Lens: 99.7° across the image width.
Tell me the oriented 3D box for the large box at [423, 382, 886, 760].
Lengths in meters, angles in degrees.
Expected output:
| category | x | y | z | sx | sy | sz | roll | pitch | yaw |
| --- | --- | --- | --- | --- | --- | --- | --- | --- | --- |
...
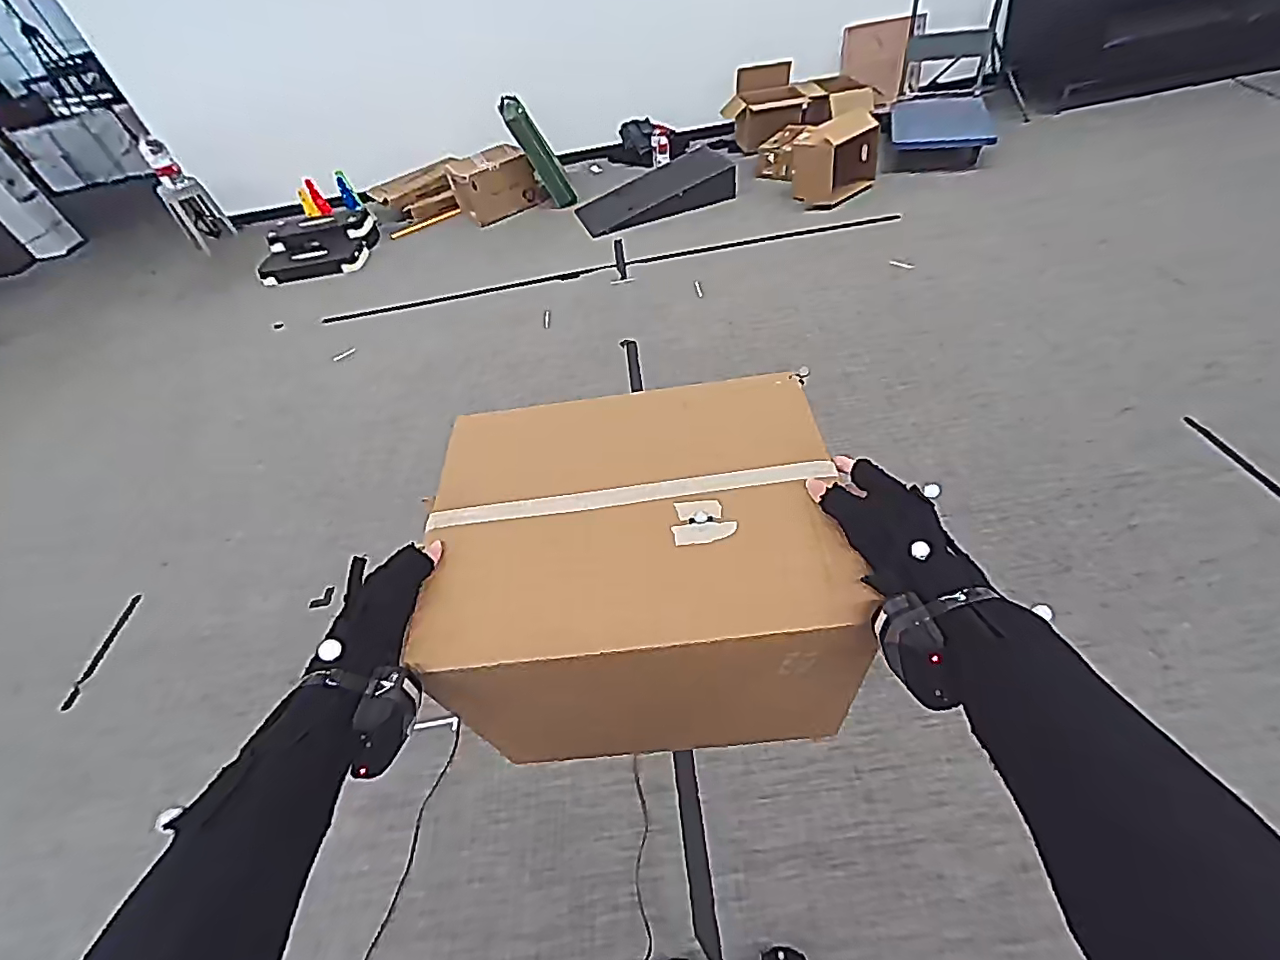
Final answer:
| category | x | y | z | sx | sy | sz | roll | pitch | yaw |
| --- | --- | --- | --- | --- | --- | --- | --- | --- | --- |
| large box | 0.014 | 0.119 | 0.661 | 0.408 | 0.320 | 0.320 | -7 | 50 | 3 |
